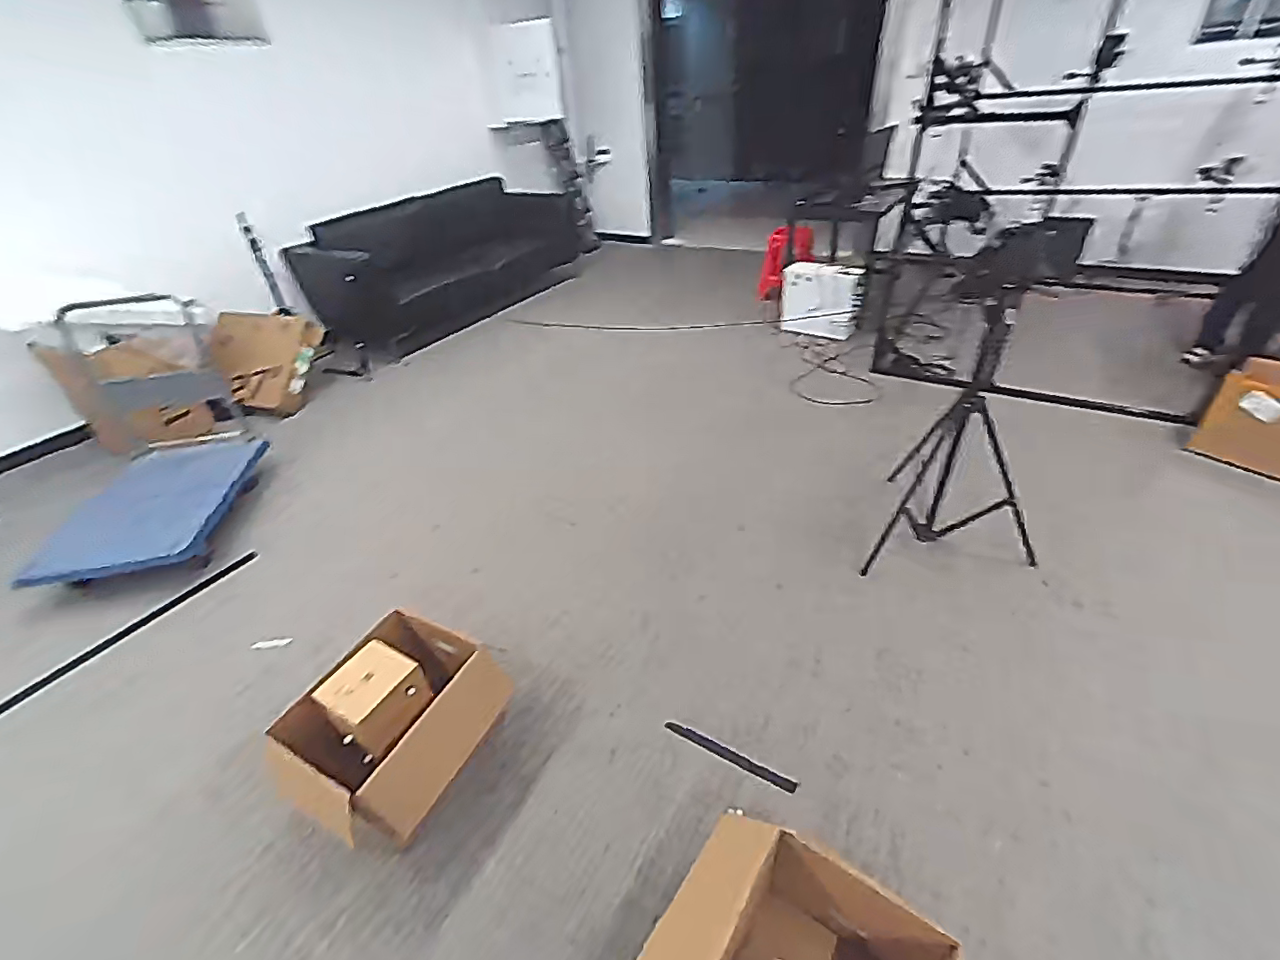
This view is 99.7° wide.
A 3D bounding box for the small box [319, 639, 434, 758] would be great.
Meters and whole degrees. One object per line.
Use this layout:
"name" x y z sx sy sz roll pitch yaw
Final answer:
"small box" -0.630 0.533 1.322 0.168 0.176 0.179 15 41 27
